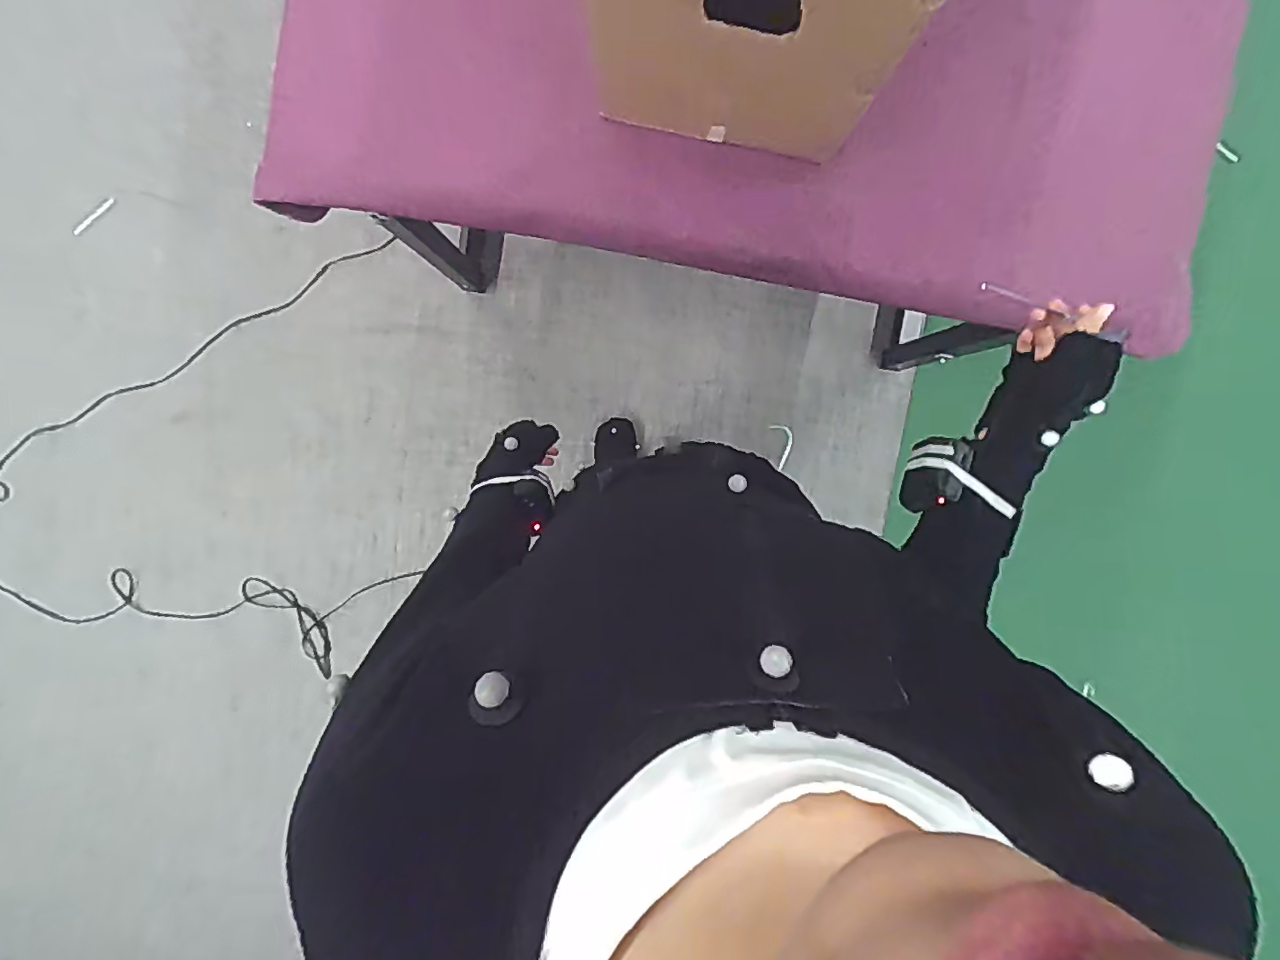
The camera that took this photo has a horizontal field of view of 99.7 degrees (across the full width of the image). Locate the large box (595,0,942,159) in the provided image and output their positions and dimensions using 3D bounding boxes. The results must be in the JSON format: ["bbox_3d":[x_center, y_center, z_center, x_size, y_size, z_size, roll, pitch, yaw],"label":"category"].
[{"bbox_3d":[0.139,-0.635,0.555,0.320,0.320,0.408,11,96,-1],"label":"large box"}]
